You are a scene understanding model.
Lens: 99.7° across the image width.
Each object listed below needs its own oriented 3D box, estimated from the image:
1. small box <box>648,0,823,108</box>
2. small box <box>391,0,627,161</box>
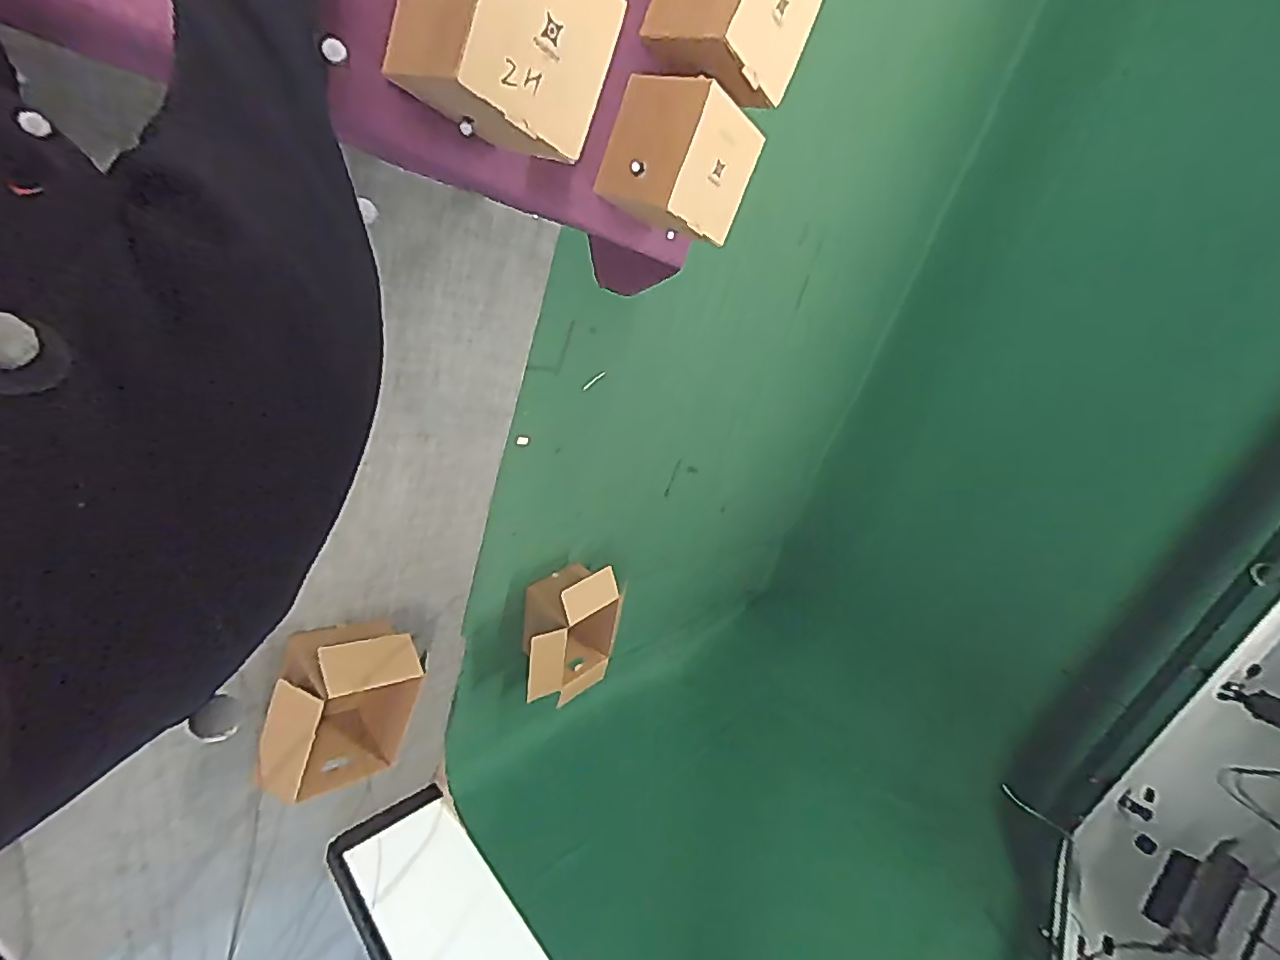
[{"bbox_3d":[0.136,-0.693,0.797,0.168,0.176,0.179,4,115,-53],"label":"small box"},{"bbox_3d":[-0.149,-0.493,0.600,0.168,0.176,0.179,3,115,-52],"label":"small box"}]
